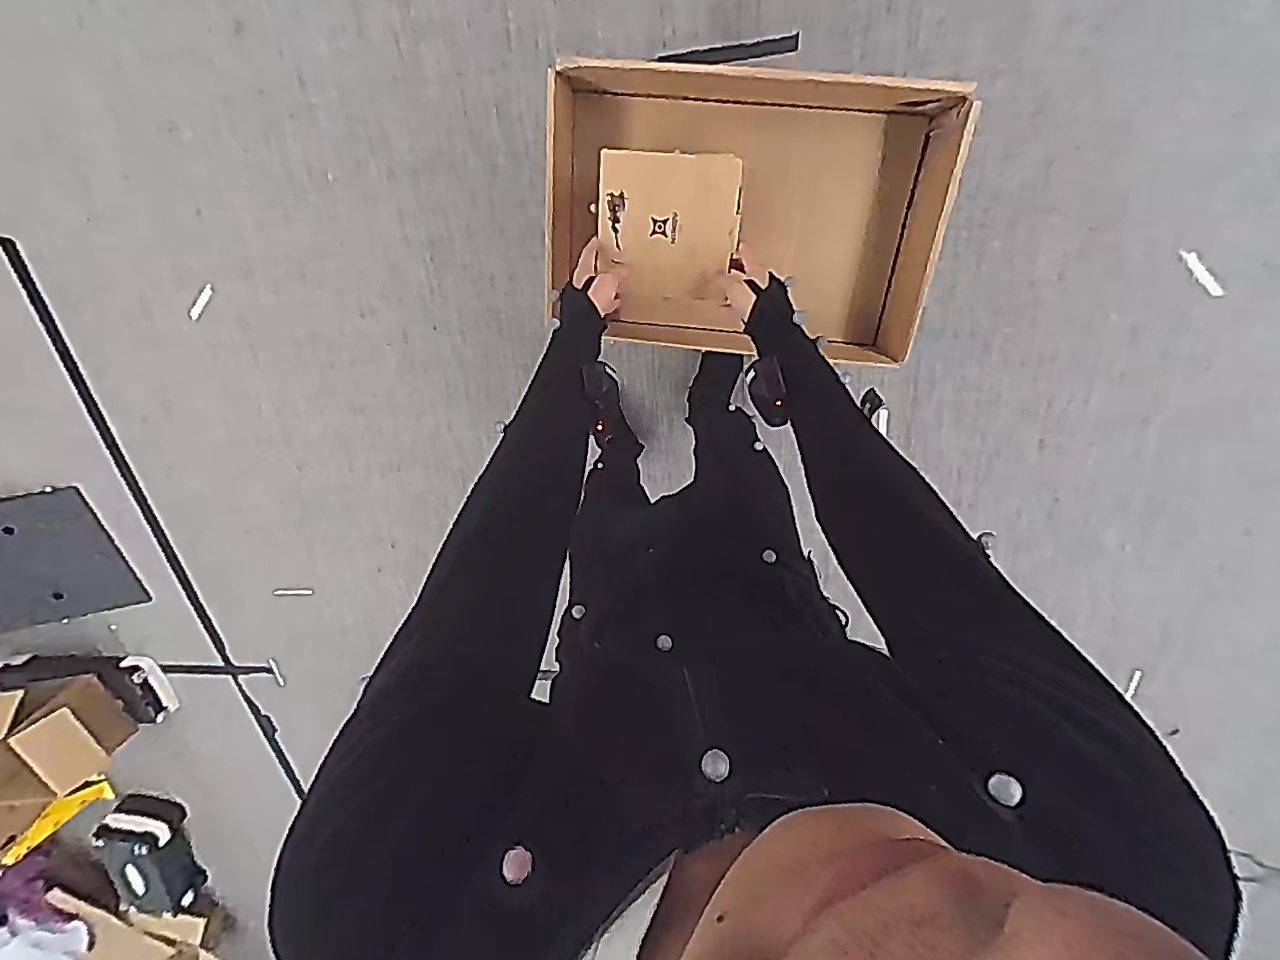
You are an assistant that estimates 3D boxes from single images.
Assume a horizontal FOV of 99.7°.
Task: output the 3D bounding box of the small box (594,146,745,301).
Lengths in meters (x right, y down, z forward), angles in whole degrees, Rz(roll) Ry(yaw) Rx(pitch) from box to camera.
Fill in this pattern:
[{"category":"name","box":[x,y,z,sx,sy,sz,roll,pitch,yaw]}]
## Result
[{"category":"small box","box":[0.039,-0.350,0.748,0.179,0.176,0.168,7,114,3]}]
